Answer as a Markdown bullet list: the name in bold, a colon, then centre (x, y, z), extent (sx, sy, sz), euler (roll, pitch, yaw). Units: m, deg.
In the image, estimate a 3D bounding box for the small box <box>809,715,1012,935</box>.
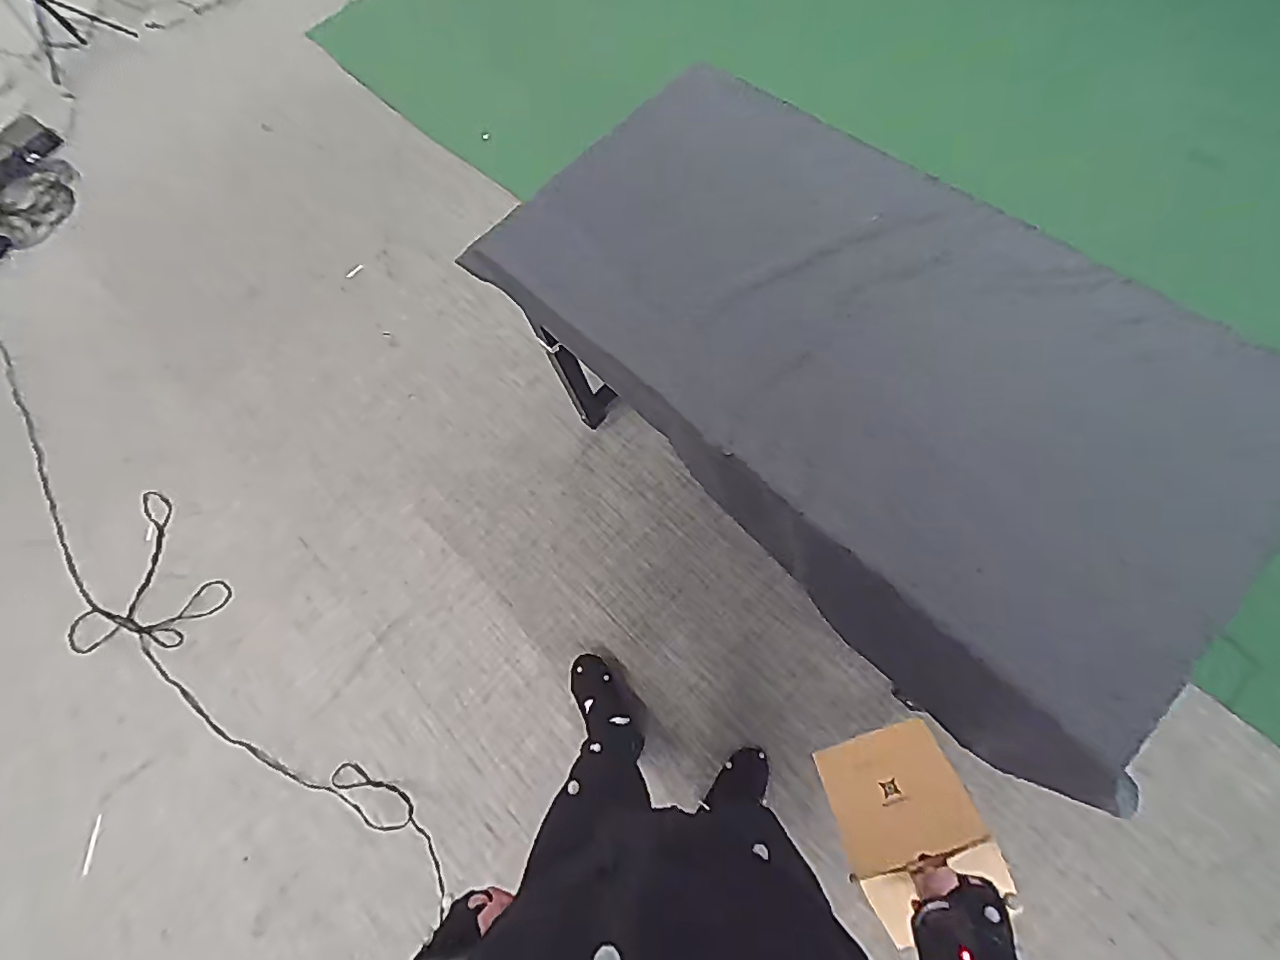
- **small box**: centre (0.354, 0.462, 0.721), extent (0.168, 0.179, 0.176), euler (-25, 112, 10)
